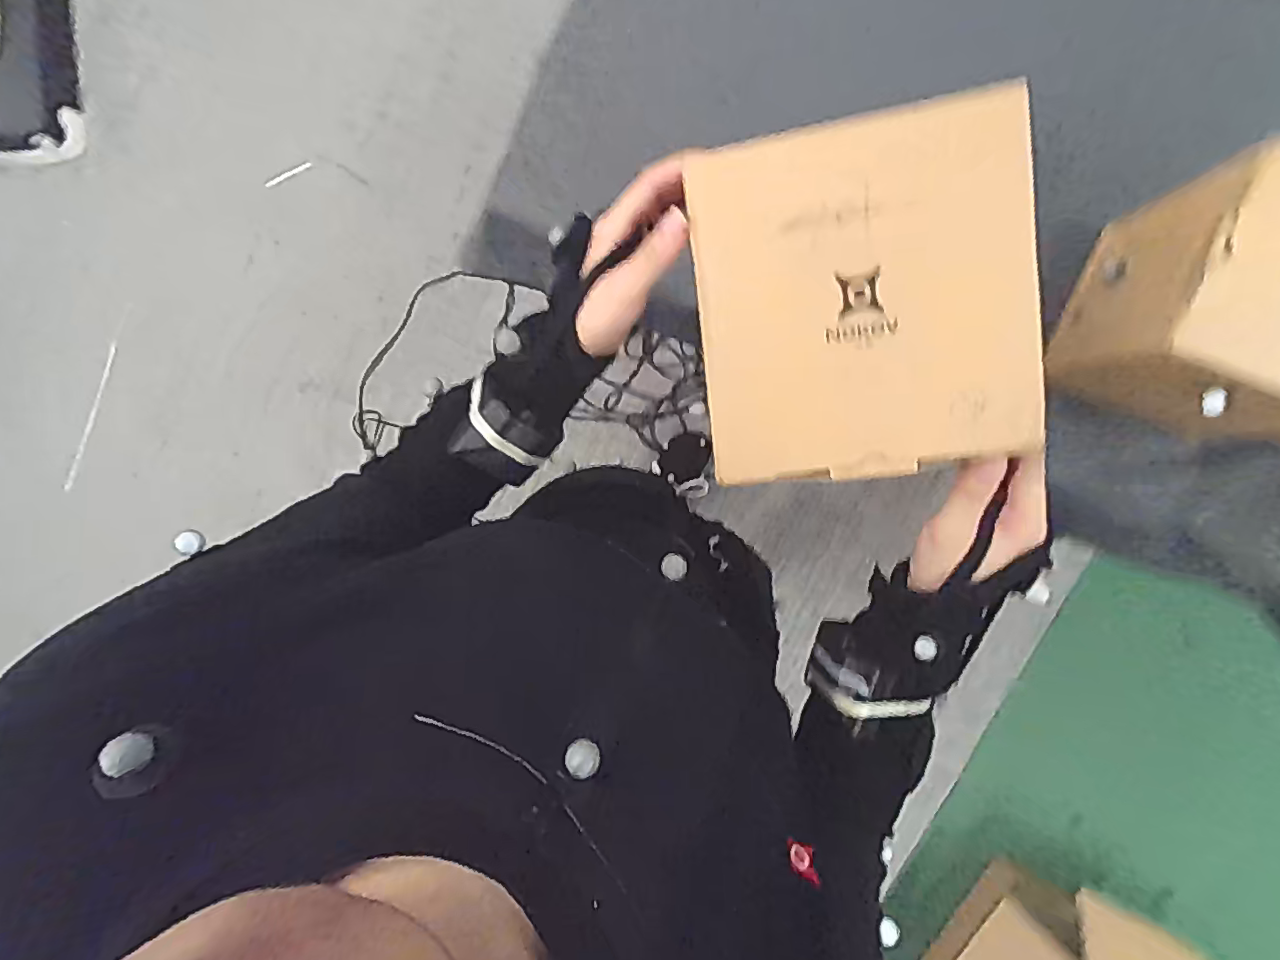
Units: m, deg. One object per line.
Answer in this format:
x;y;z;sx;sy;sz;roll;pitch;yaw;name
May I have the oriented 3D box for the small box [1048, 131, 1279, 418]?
0.524;-0.160;0.474;0.179;0.176;0.168;23;97;5;small box
